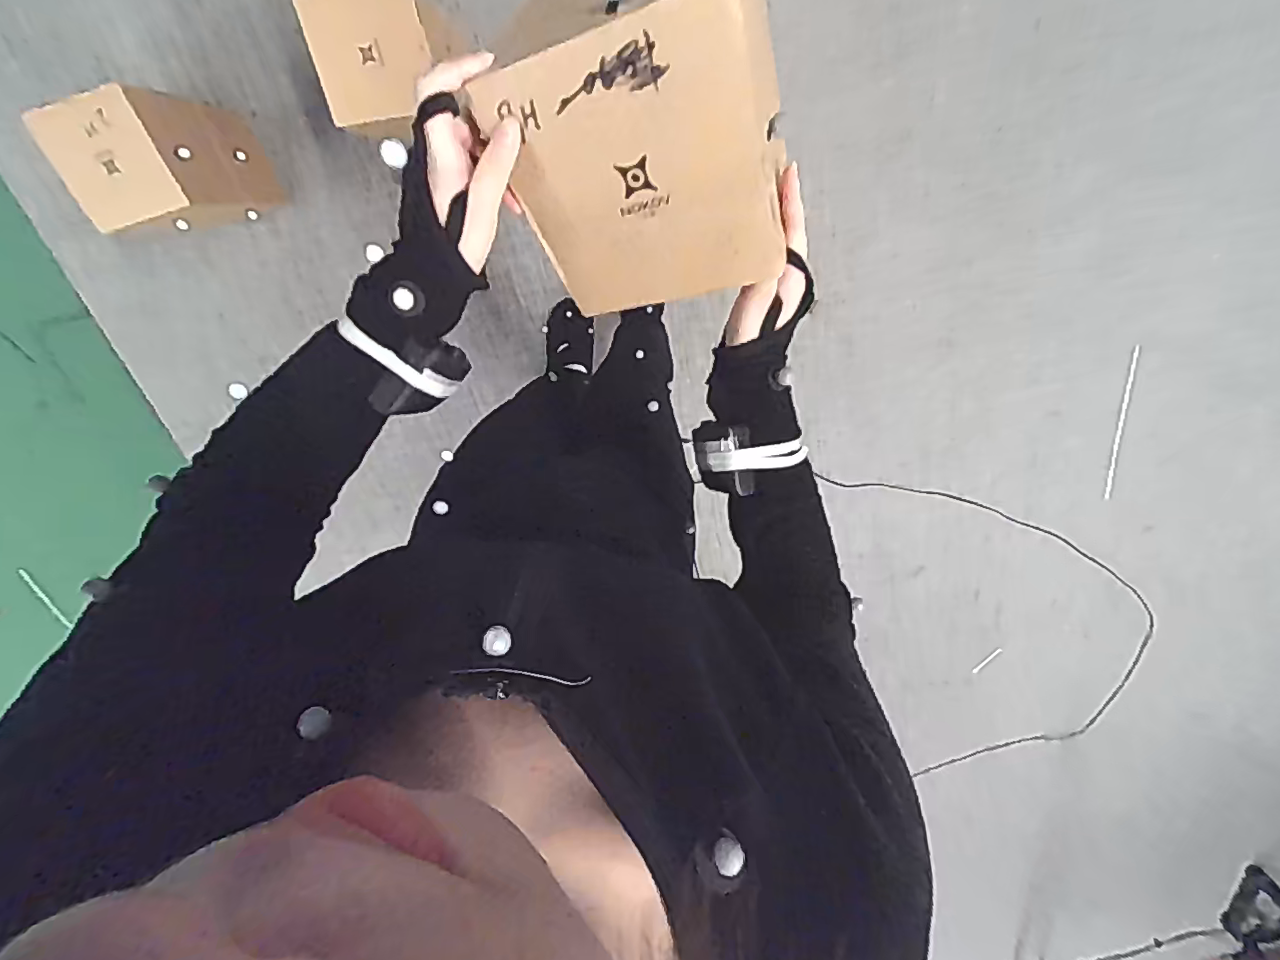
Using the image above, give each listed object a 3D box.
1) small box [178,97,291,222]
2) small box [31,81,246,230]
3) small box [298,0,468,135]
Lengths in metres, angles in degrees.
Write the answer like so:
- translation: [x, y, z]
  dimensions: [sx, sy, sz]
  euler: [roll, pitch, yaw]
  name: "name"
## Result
- translation: [-0.845, -0.629, 1.074]
  dimensions: [0.168, 0.176, 0.179]
  euler: [-13, 117, 3]
  name: "small box"
- translation: [-0.837, -0.549, 0.930]
  dimensions: [0.168, 0.176, 0.179]
  euler: [-15, 118, 3]
  name: "small box"
- translation: [-0.405, -0.679, 0.887]
  dimensions: [0.179, 0.176, 0.168]
  euler: [-8, 118, 1]
  name: "small box"
